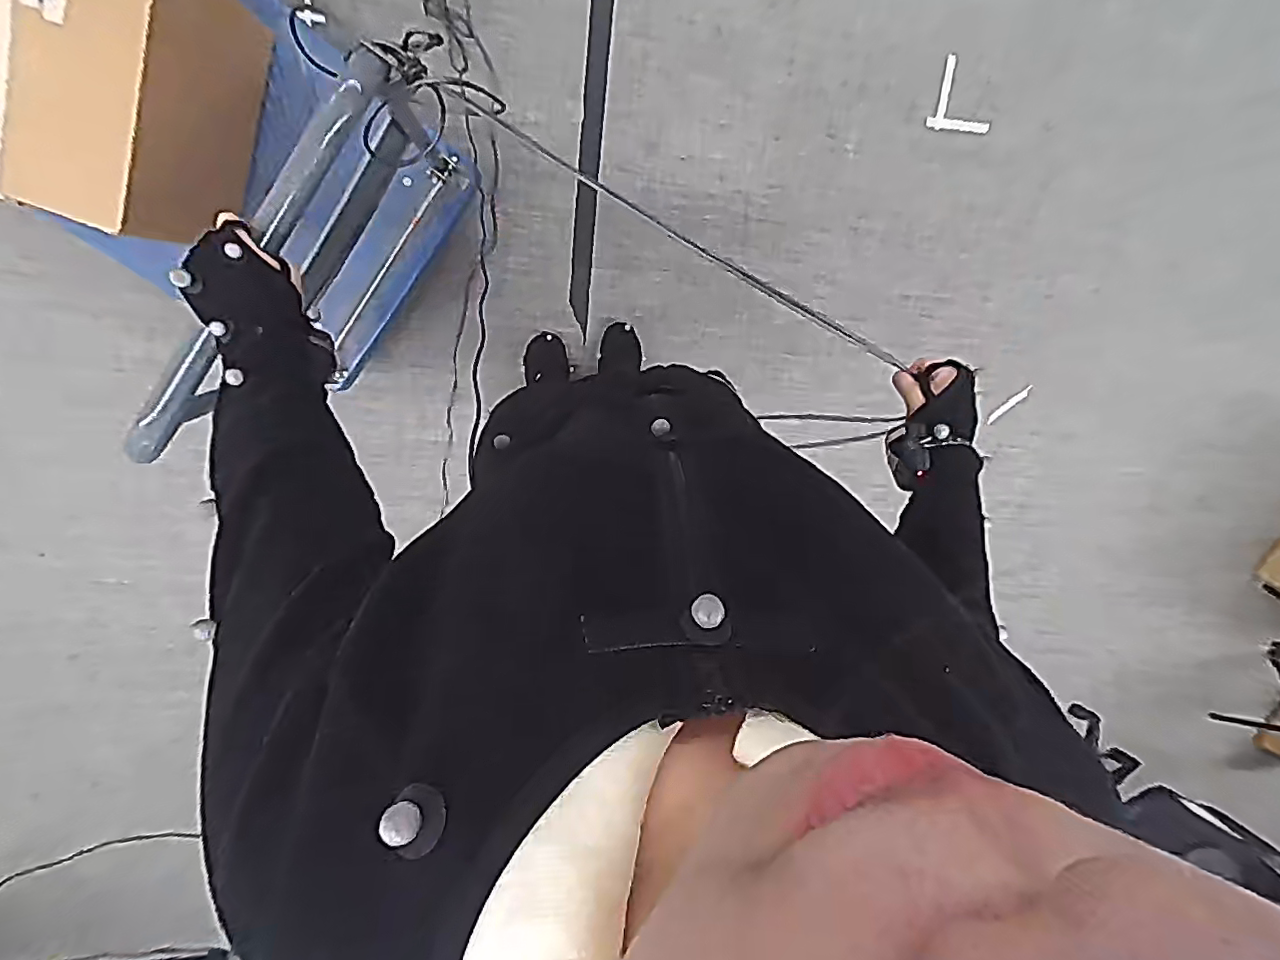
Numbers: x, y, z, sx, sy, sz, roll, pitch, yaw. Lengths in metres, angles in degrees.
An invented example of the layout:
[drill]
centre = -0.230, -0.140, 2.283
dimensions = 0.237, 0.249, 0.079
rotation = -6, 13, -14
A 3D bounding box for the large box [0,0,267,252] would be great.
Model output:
[large box]
centre = -0.858, -0.628, 0.851
dimensions = 0.320, 0.320, 0.408
rotation = 18, 104, -15
